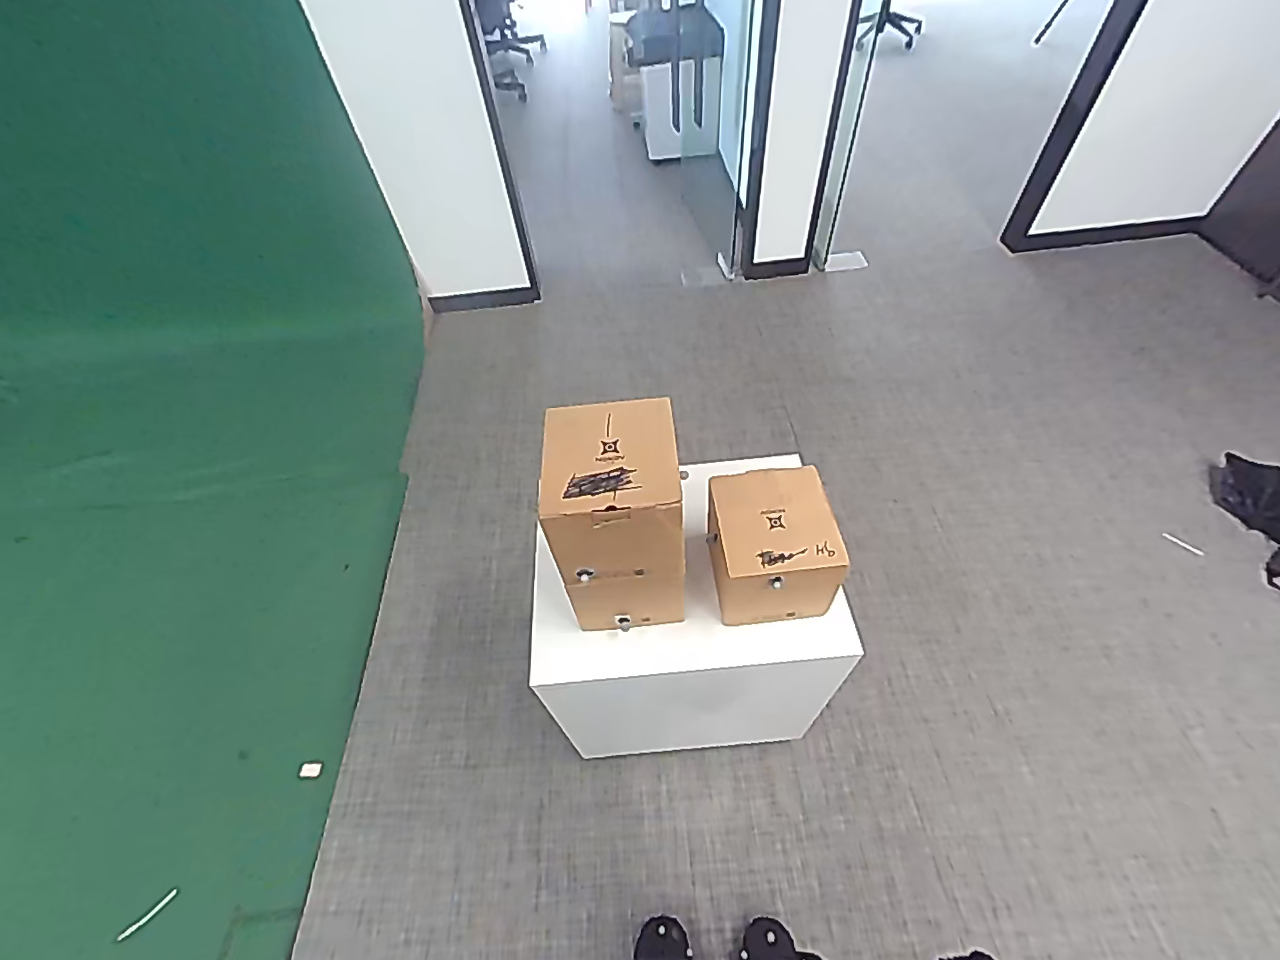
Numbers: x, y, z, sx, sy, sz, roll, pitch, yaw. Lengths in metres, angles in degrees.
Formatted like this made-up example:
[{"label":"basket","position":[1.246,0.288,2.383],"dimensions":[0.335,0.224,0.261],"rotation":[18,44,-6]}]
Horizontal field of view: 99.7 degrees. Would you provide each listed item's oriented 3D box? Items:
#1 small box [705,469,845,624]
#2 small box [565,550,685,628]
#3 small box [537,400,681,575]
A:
[{"label":"small box","position":[0.196,0.106,0.846],"dimensions":[0.168,0.176,0.179],"rotation":[-5,51,0]},{"label":"small box","position":[-0.024,0.110,0.845],"dimensions":[0.168,0.176,0.179],"rotation":[-7,53,0]},{"label":"small box","position":[-0.034,0.018,0.729],"dimensions":[0.168,0.176,0.179],"rotation":[-5,50,2]}]
